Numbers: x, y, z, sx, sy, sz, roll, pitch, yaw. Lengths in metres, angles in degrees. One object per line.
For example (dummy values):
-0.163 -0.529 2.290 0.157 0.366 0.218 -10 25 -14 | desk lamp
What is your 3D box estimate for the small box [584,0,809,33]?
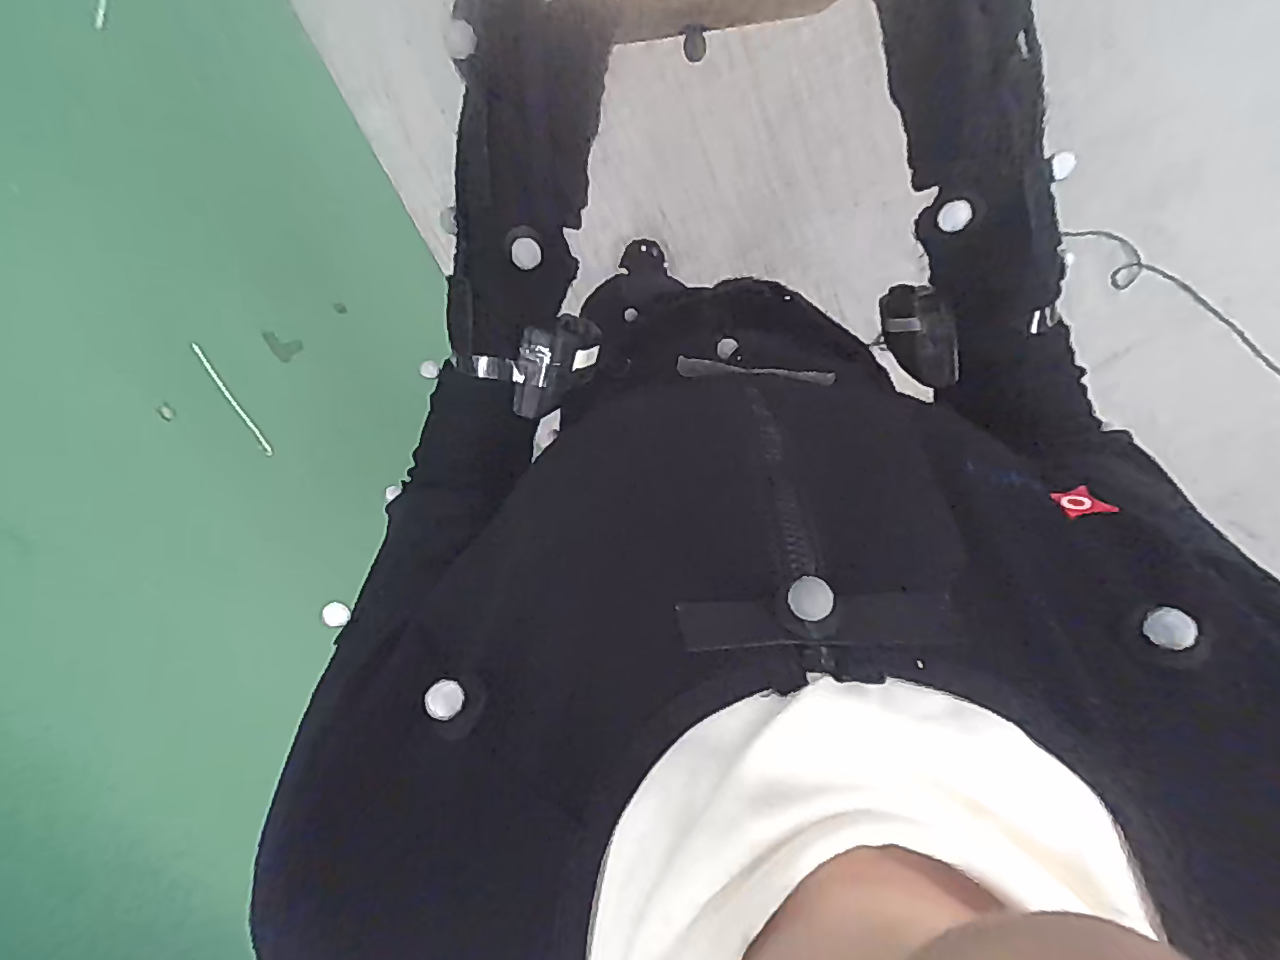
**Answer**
0.036 -0.353 0.262 0.168 0.176 0.179 -6 121 2 | small box
